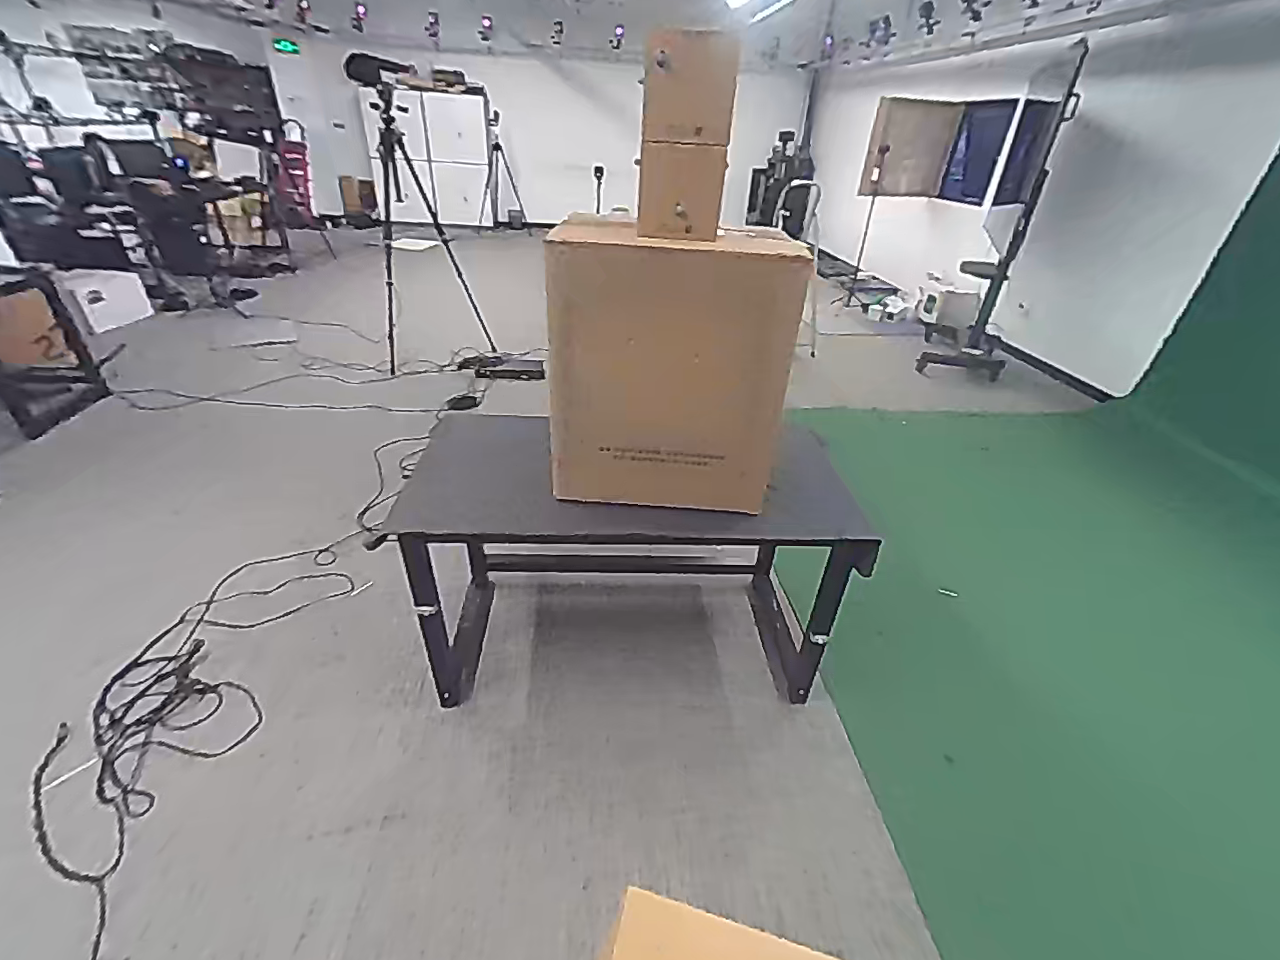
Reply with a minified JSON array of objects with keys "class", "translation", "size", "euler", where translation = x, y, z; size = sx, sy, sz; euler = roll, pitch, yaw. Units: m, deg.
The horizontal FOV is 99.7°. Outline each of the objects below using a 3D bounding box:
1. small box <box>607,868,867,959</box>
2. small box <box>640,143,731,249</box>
[{"class":"small box","translation":[0.044,0.408,0.350],"size":[0.168,0.176,0.179],"euler":[15,32,6]},{"class":"small box","translation":[0.088,-0.595,1.130],"size":[0.168,0.176,0.179],"euler":[4,35,0]}]
